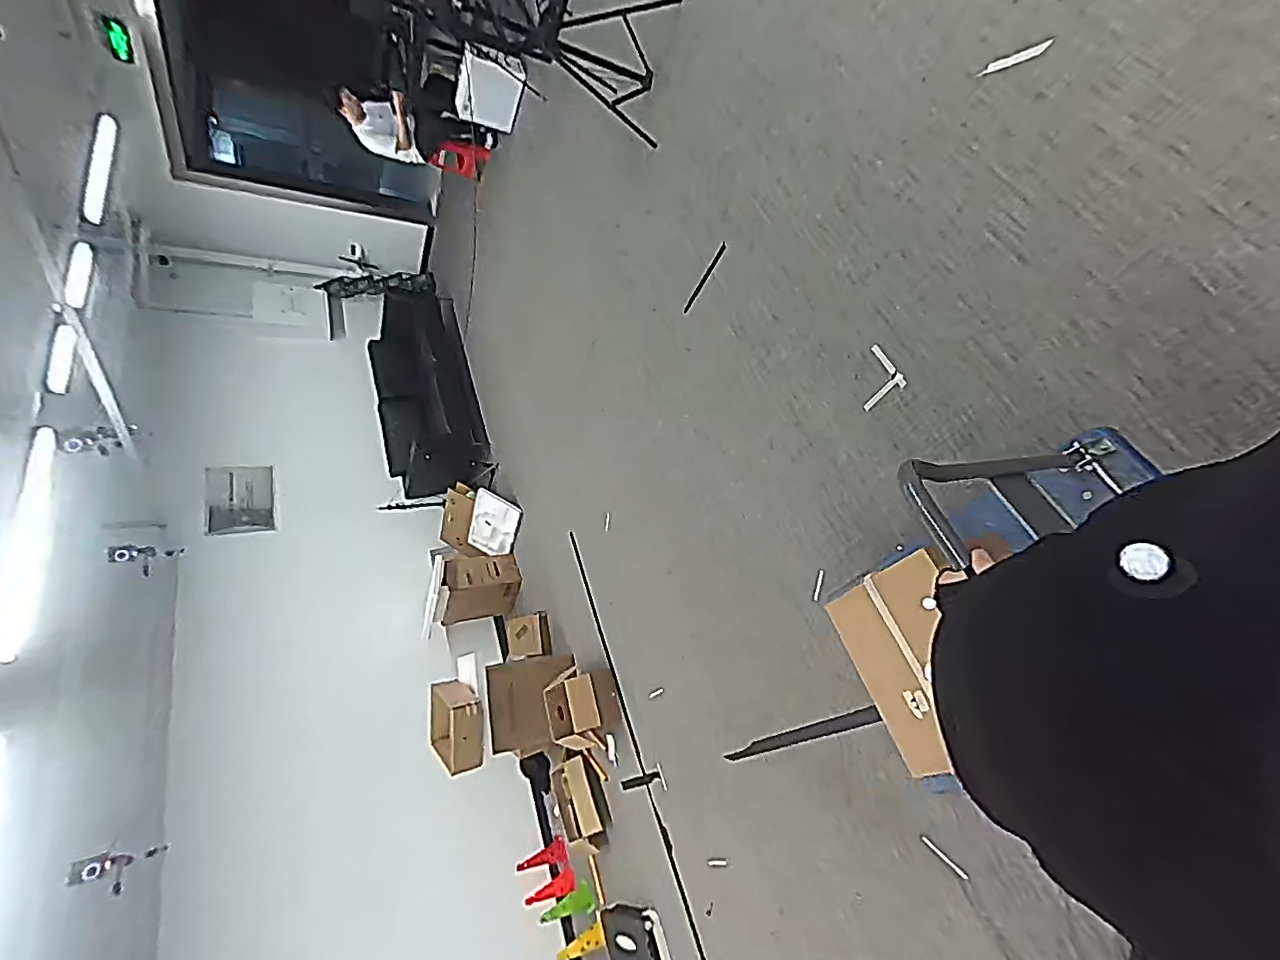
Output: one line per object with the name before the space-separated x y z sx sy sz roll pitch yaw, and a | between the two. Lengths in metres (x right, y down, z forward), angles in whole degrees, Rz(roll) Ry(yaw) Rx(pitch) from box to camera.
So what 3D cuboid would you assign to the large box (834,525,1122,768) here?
large box | 0.732 0.357 1.213 0.320 0.320 0.408 -54 50 47
